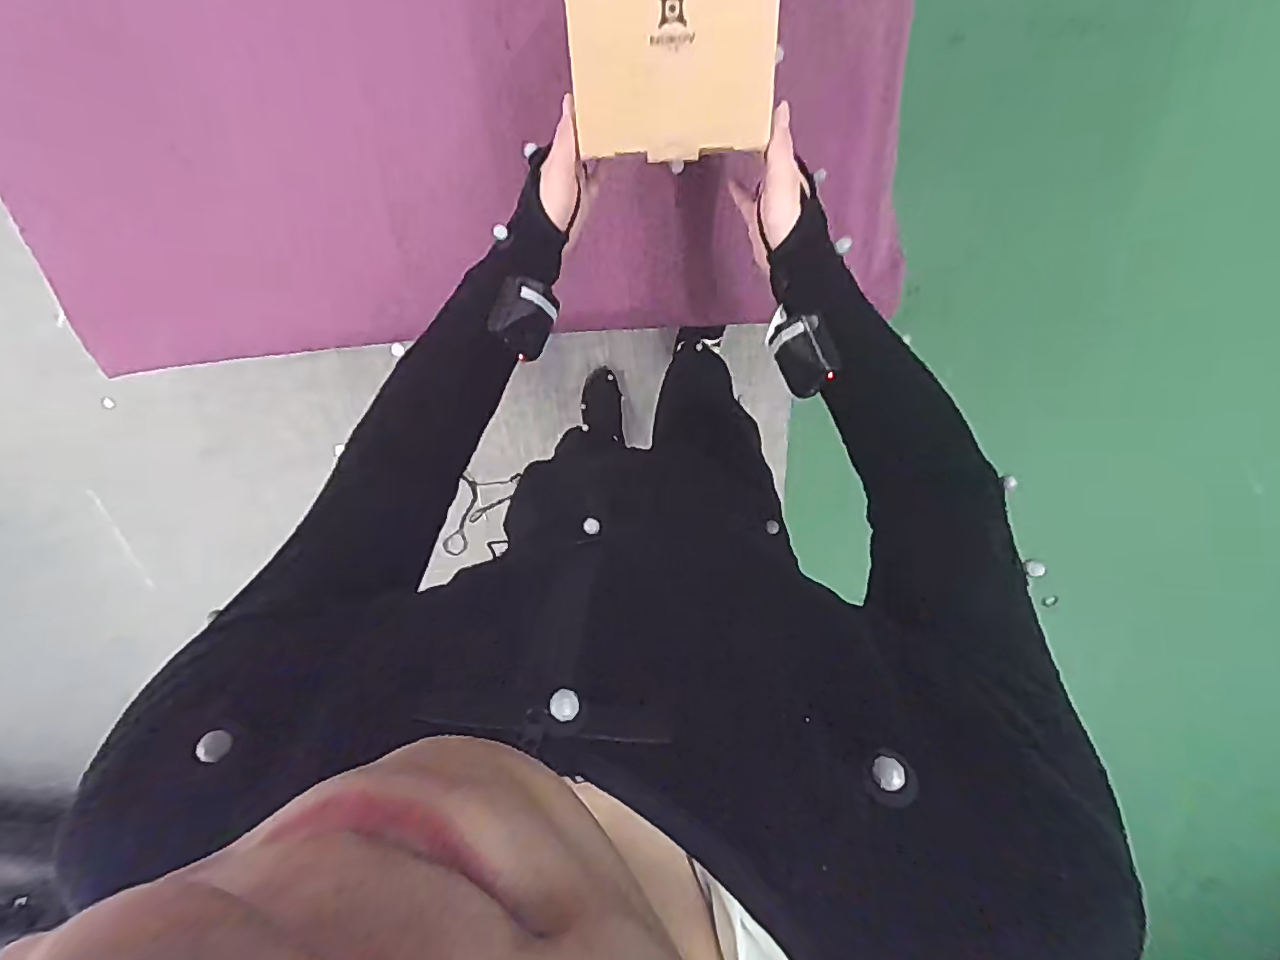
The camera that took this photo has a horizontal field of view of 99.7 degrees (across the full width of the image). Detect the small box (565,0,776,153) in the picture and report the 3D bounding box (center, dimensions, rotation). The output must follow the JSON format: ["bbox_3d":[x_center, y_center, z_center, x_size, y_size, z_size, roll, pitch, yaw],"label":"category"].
[{"bbox_3d":[0.031,-0.403,0.486,0.168,0.176,0.179,1,122,5],"label":"small box"}]
